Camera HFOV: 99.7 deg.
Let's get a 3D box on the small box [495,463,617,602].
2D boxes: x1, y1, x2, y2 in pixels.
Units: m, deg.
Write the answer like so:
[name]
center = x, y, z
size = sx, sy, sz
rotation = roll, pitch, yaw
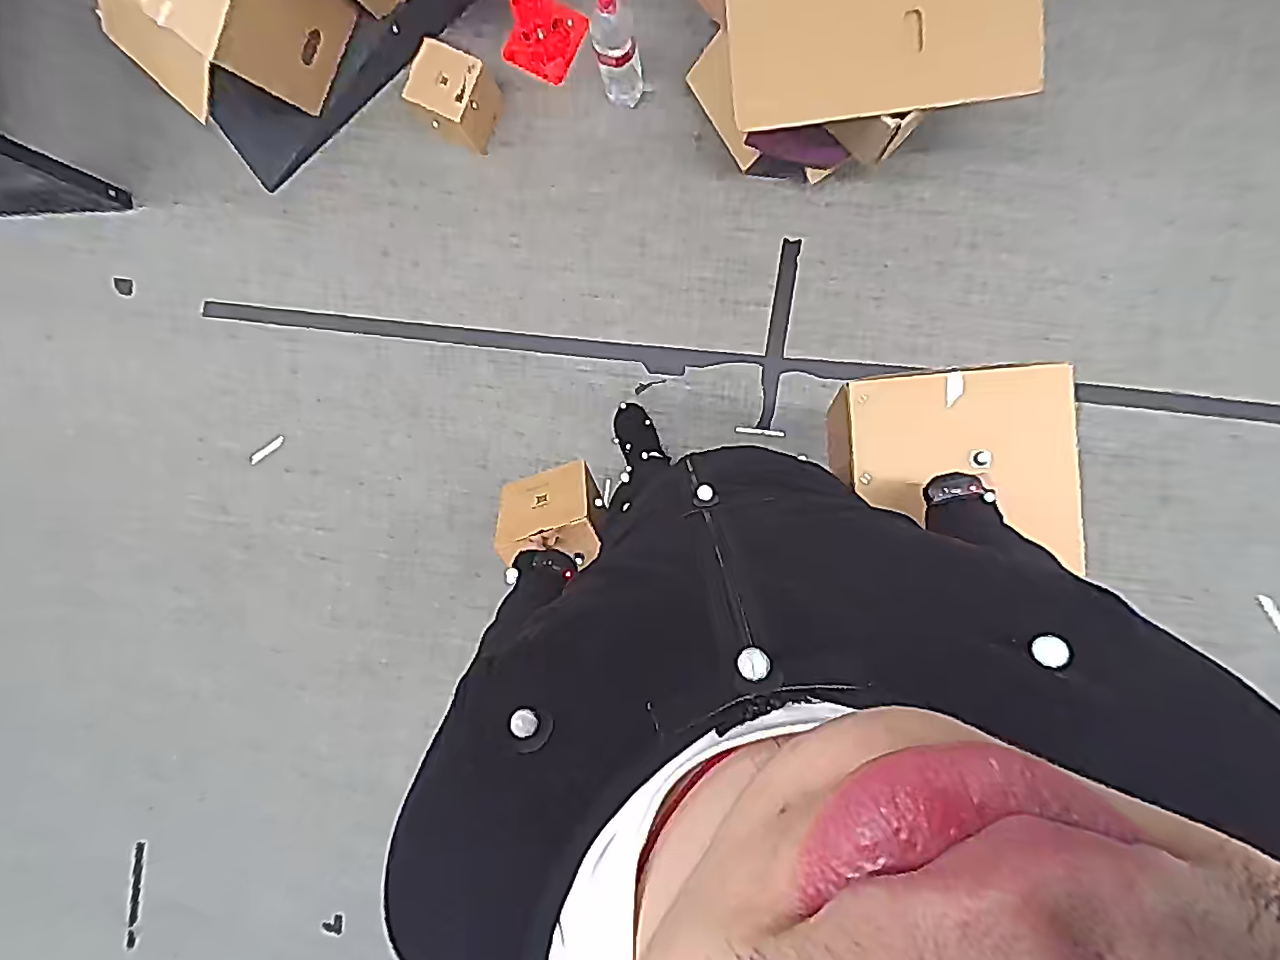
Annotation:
[small box]
center = -0.147, 0.103, 0.998
size = 0.168, 0.179, 0.176
rotation = -18, 124, 5
